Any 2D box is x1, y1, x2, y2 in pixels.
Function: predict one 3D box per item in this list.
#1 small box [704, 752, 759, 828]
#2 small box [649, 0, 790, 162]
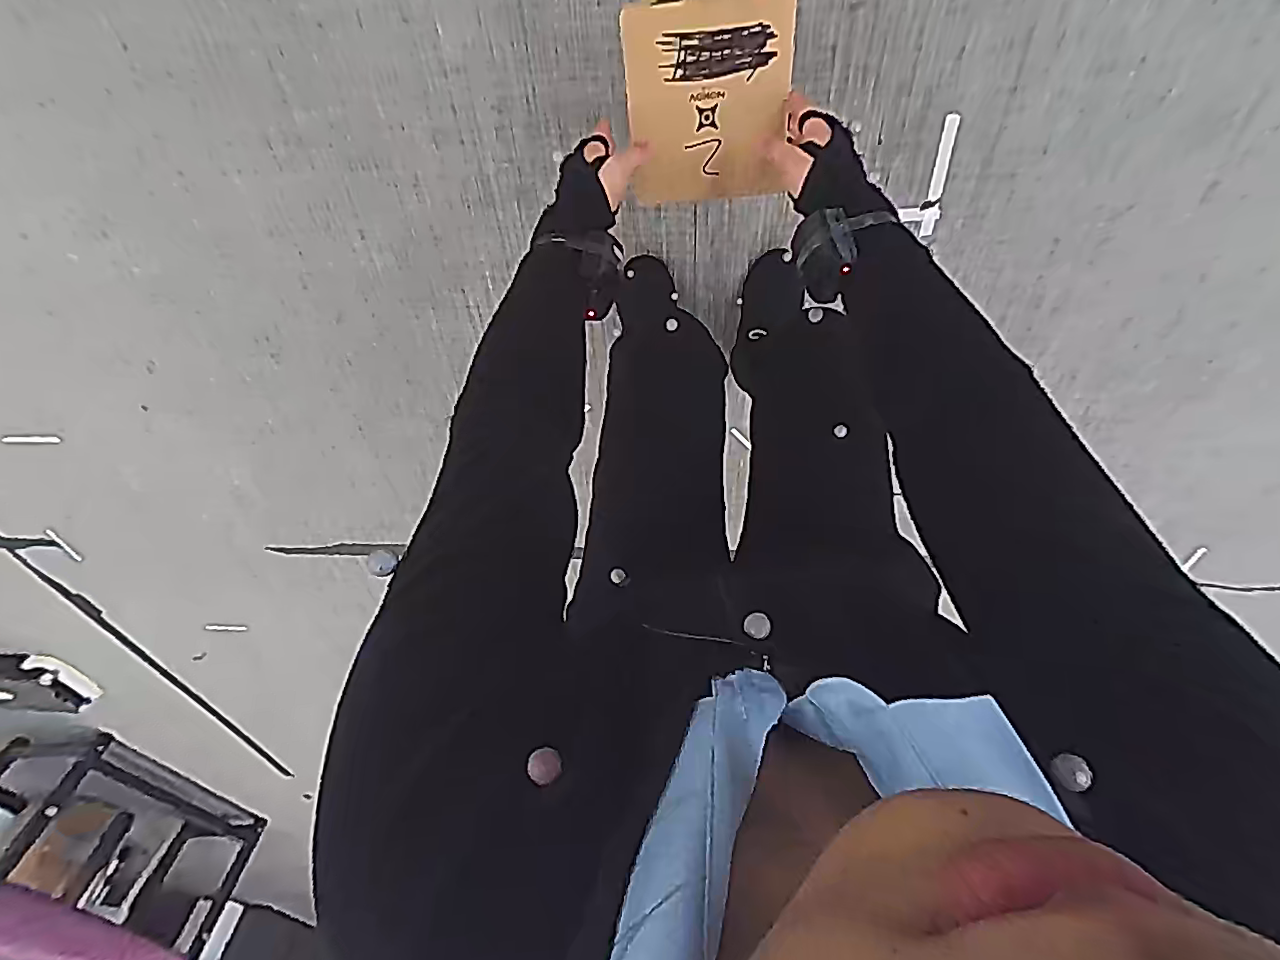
[{"bbox_3d":[0.304,1.048,1.830,0.168,0.176,0.179,1,130,4],"label":"small box"},{"bbox_3d":[0.099,-0.547,0.725,0.168,0.176,0.179,-2,131,5],"label":"small box"}]
